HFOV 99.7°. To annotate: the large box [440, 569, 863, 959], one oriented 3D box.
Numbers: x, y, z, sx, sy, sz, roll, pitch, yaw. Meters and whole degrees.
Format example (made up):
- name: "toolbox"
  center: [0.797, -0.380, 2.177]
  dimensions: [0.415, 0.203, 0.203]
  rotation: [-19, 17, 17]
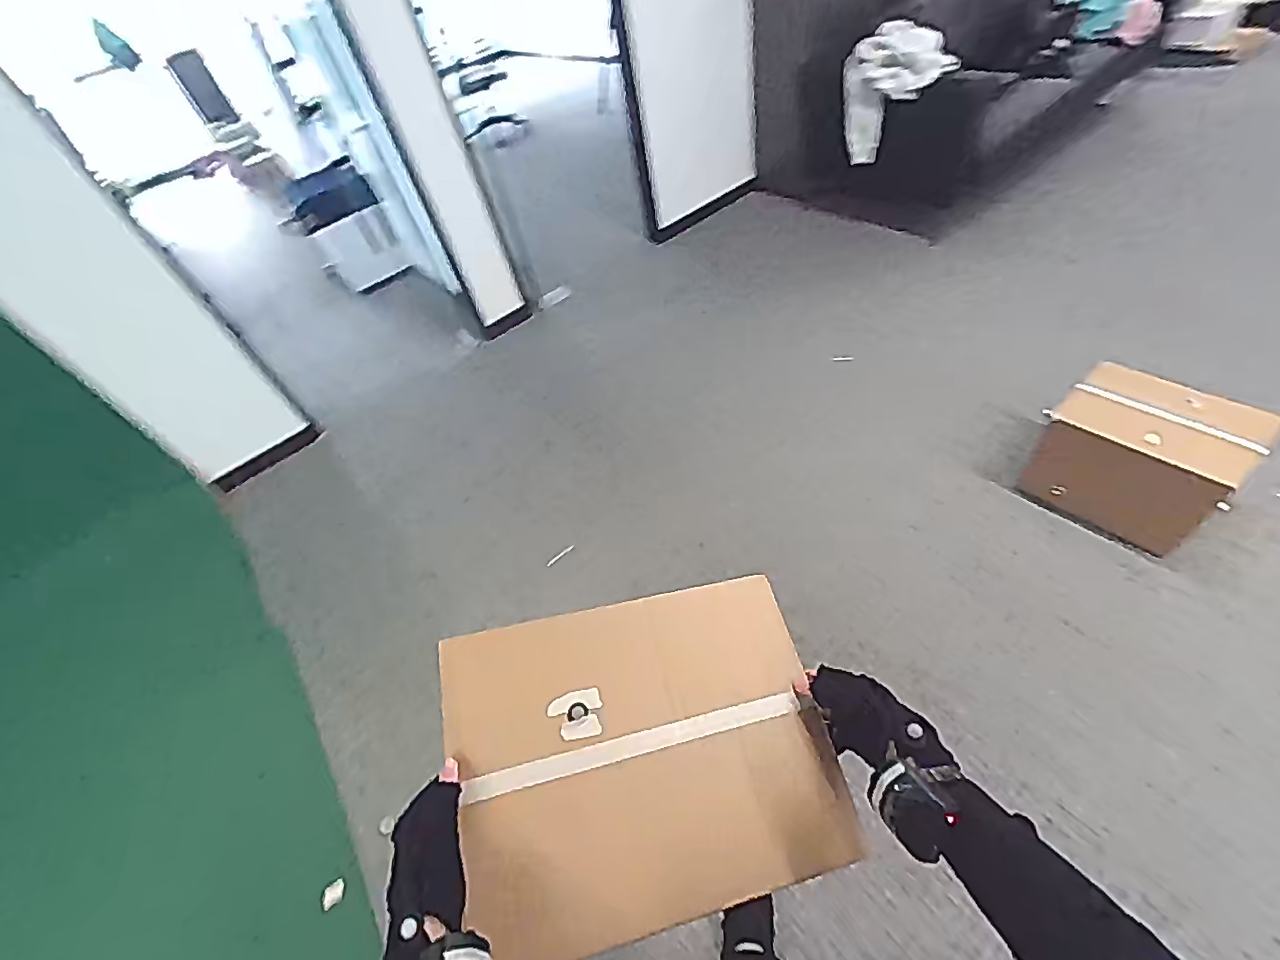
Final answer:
- name: "large box"
  center: [-0.011, 0.346, 0.704]
  dimensions: [0.408, 0.320, 0.320]
  rotation: [-9, 61, -12]
